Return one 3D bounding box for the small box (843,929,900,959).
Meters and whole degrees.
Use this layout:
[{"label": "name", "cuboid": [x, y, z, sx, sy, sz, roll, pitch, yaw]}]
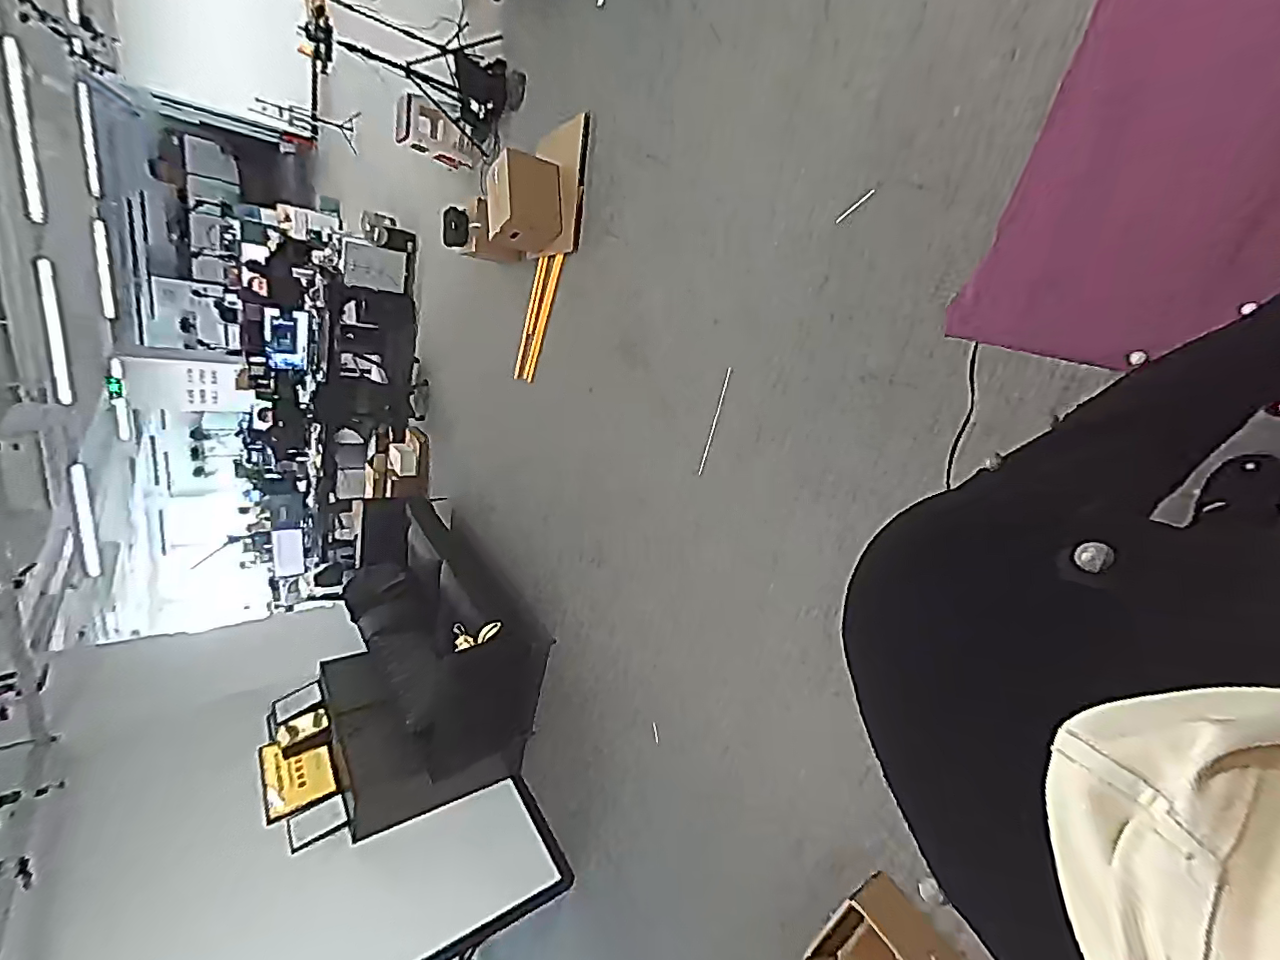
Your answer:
[{"label": "small box", "cuboid": [0.701, 1.538, 1.649, 0.168, 0.176, 0.179, 40, 123, 41]}]
